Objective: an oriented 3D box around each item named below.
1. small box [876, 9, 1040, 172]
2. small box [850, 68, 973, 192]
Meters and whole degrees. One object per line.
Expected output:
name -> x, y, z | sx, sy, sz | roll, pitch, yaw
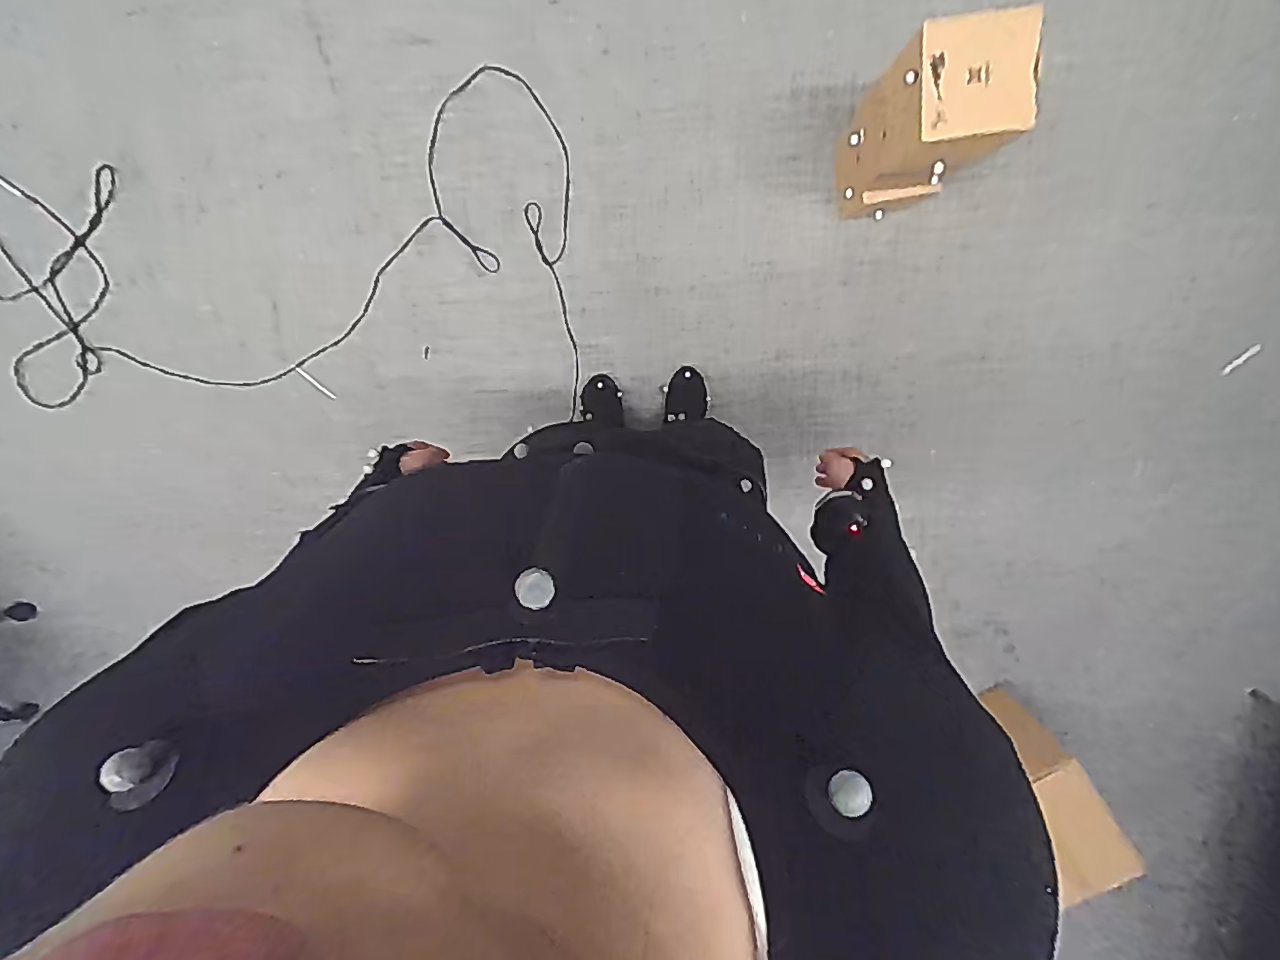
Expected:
small box -> 0.519, -0.637, 0.906 | 0.179, 0.176, 0.168 | -5, 103, 3
small box -> 0.530, -0.685, 1.063 | 0.179, 0.176, 0.168 | -5, 103, 4
